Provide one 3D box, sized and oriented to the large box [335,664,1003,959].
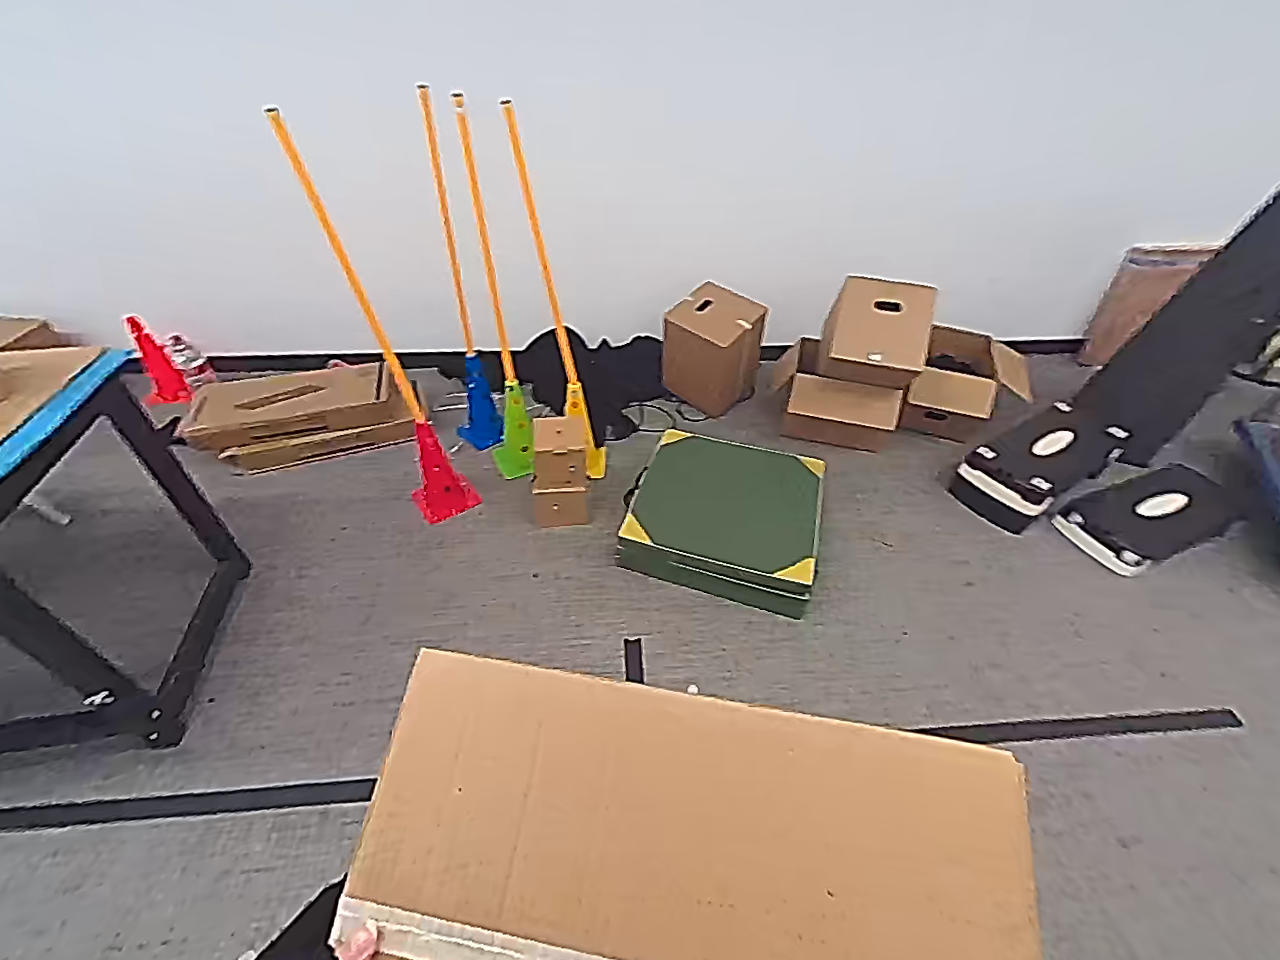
[{"bbox_3d":[0.021,0.353,0.460,0.408,0.320,0.320,7,67,6],"label":"large box"}]
